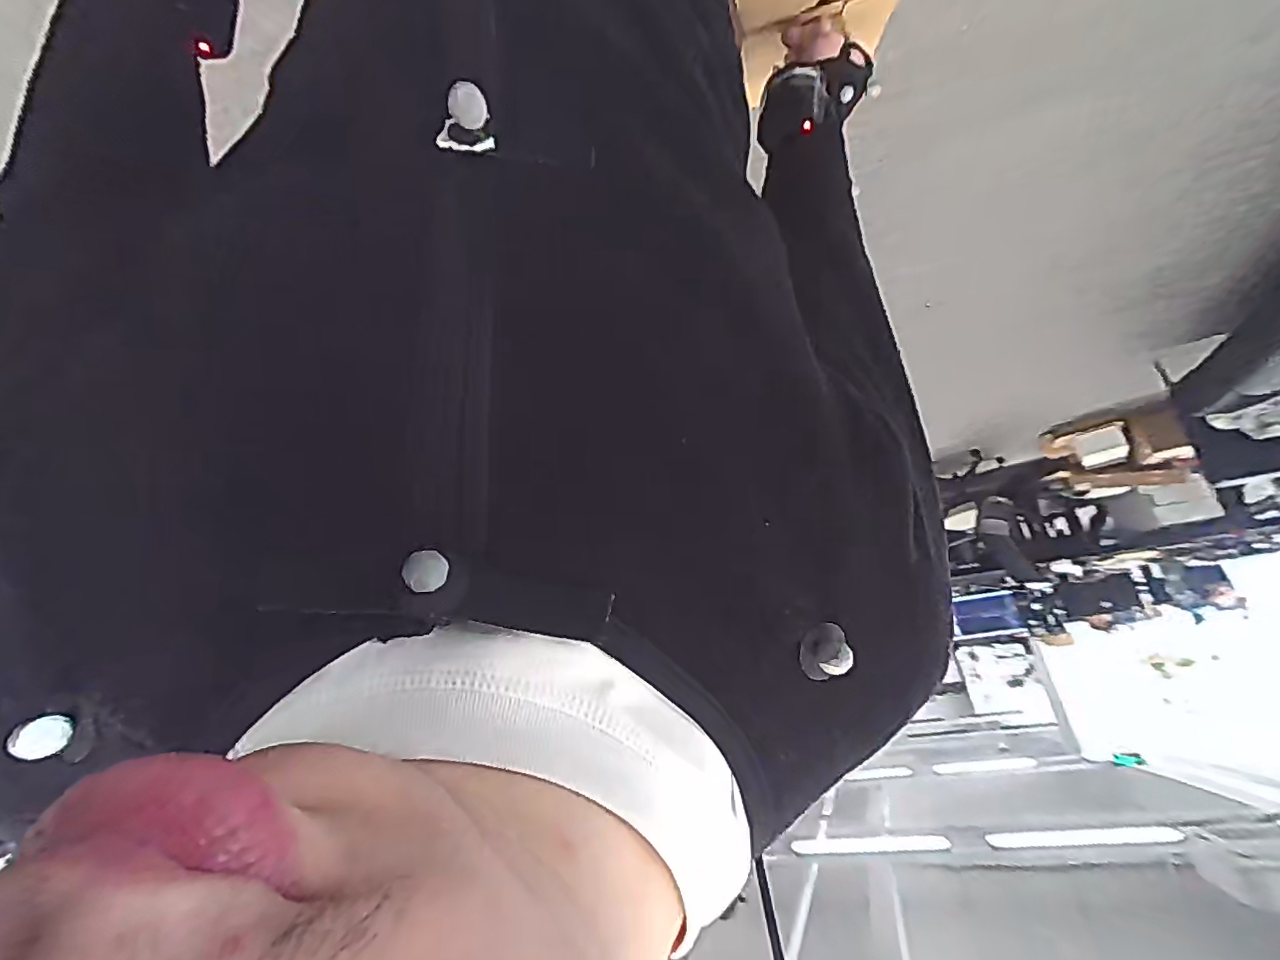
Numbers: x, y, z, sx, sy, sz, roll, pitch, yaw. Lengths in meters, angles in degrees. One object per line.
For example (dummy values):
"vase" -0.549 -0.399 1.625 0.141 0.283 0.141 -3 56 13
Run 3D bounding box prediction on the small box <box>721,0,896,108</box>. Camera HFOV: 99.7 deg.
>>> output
"small box" 0.183 -0.565 0.617 0.168 0.179 0.176 -14 -171 14
